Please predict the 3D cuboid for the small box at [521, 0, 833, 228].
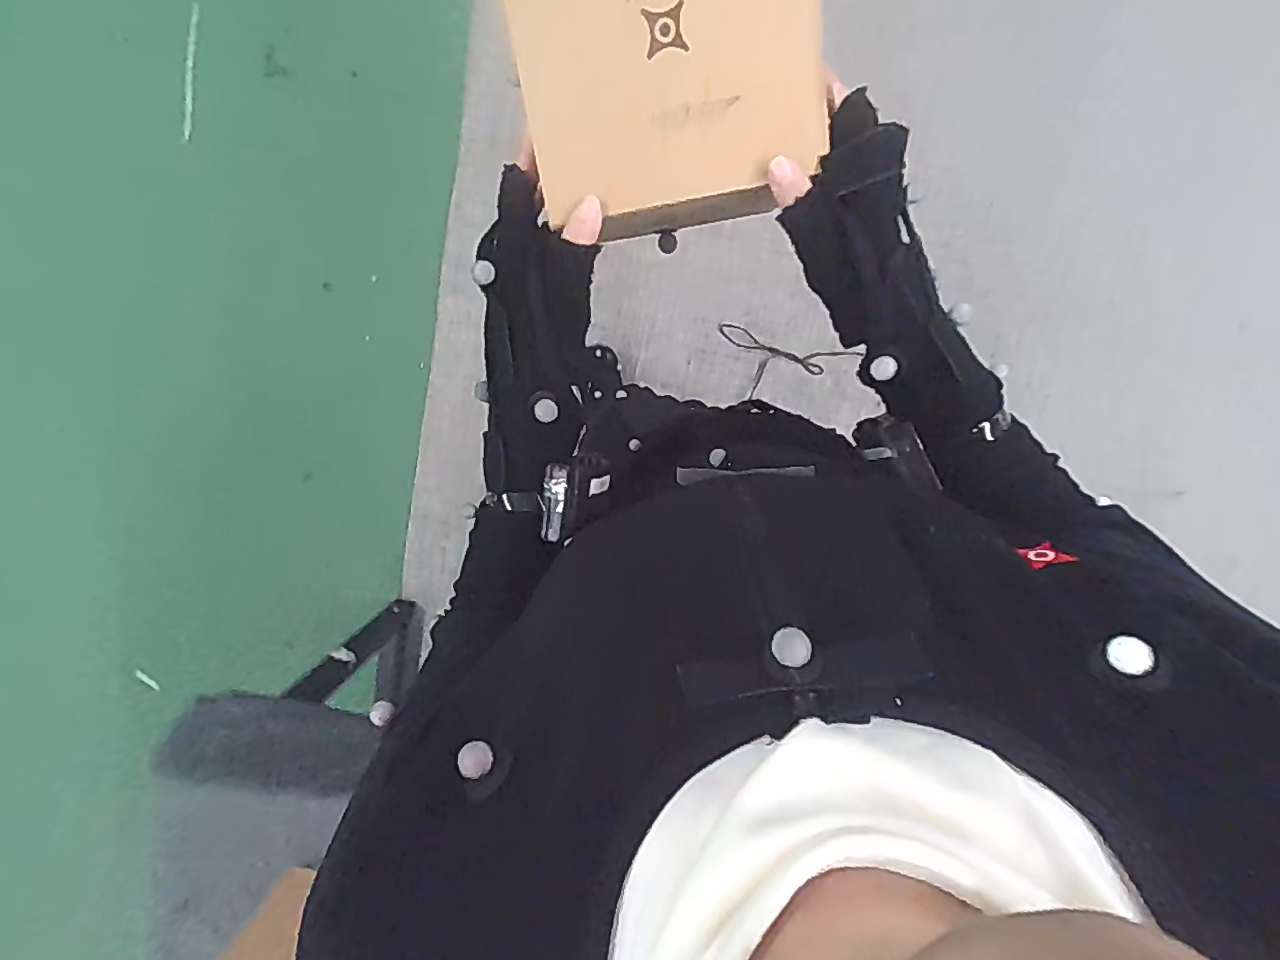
[{"bbox_3d":[0.020,-0.281,0.360,0.168,0.176,0.179,-7,110,5],"label":"small box"}]
